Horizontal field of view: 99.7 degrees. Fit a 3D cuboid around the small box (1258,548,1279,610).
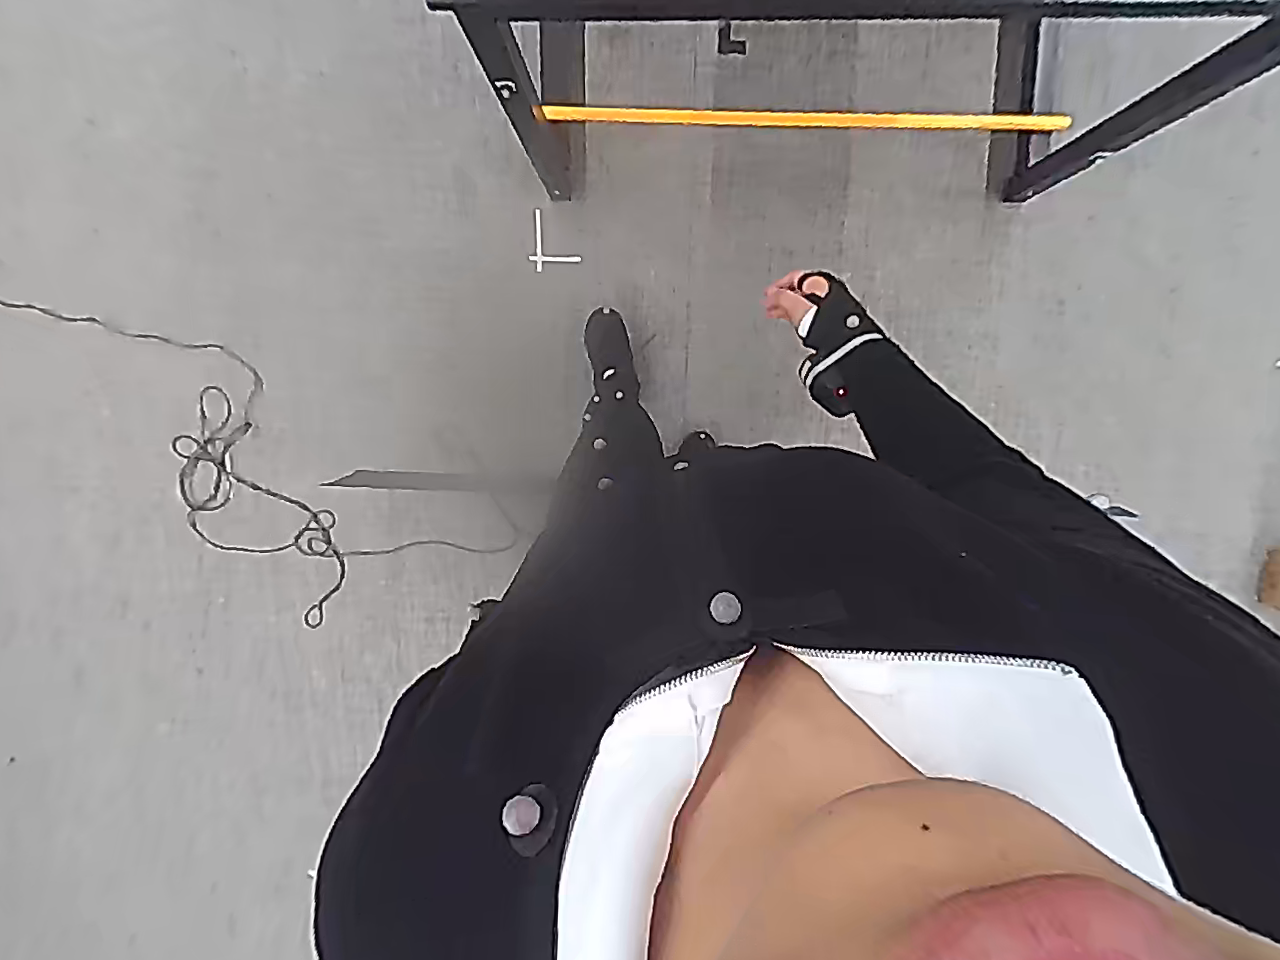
[{"bbox_3d":[1.786,0.278,1.400,0.179,0.176,0.168,3,99,2],"label":"small box"}]
